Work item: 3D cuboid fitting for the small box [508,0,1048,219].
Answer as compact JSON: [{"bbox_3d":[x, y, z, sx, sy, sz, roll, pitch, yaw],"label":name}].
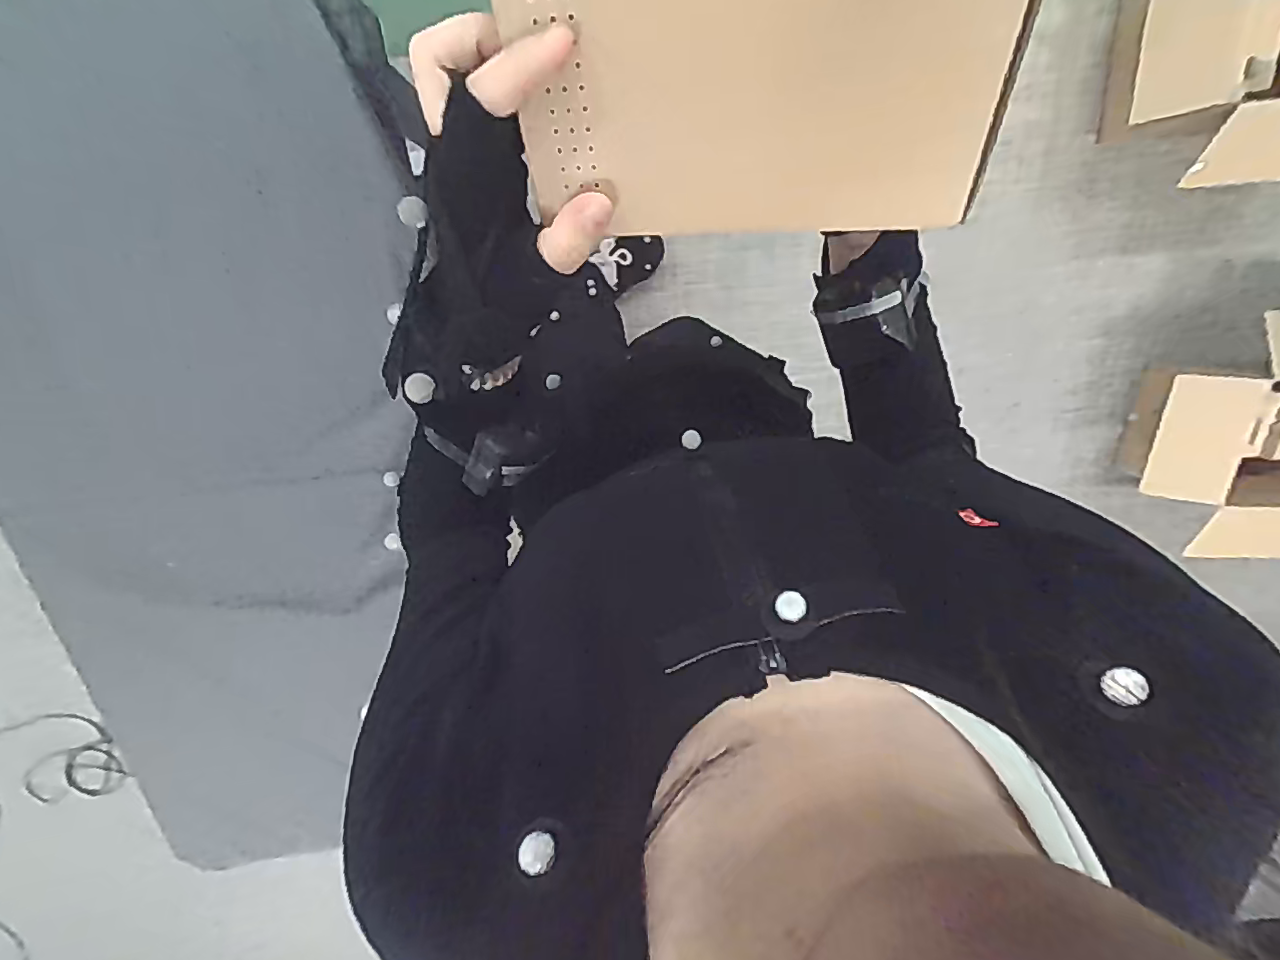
[{"bbox_3d":[0.048,-0.218,0.208,0.176,0.168,0.179,6,136,13],"label":"small box"}]
